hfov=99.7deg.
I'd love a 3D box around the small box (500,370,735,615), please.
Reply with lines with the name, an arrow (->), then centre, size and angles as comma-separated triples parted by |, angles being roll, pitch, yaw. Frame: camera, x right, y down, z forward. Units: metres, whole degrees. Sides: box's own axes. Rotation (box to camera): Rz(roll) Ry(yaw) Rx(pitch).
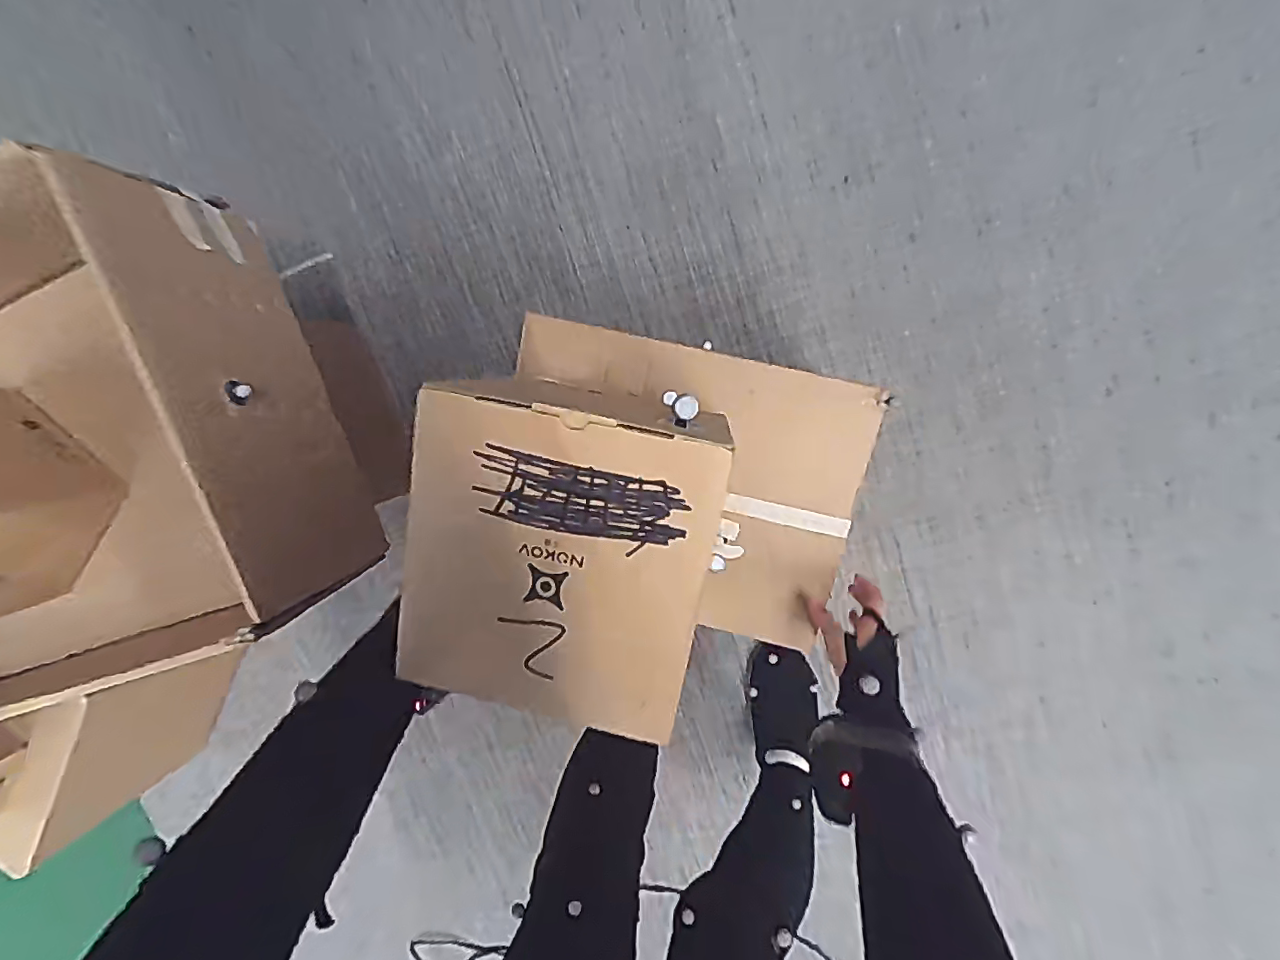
small box -> -0.014, -0.002, 0.533 | 0.168, 0.176, 0.179 | 17, 103, 5

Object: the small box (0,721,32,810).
small box -> -1.036, 0.423, 0.753 | 0.179, 0.176, 0.168 | 35, 103, 0
